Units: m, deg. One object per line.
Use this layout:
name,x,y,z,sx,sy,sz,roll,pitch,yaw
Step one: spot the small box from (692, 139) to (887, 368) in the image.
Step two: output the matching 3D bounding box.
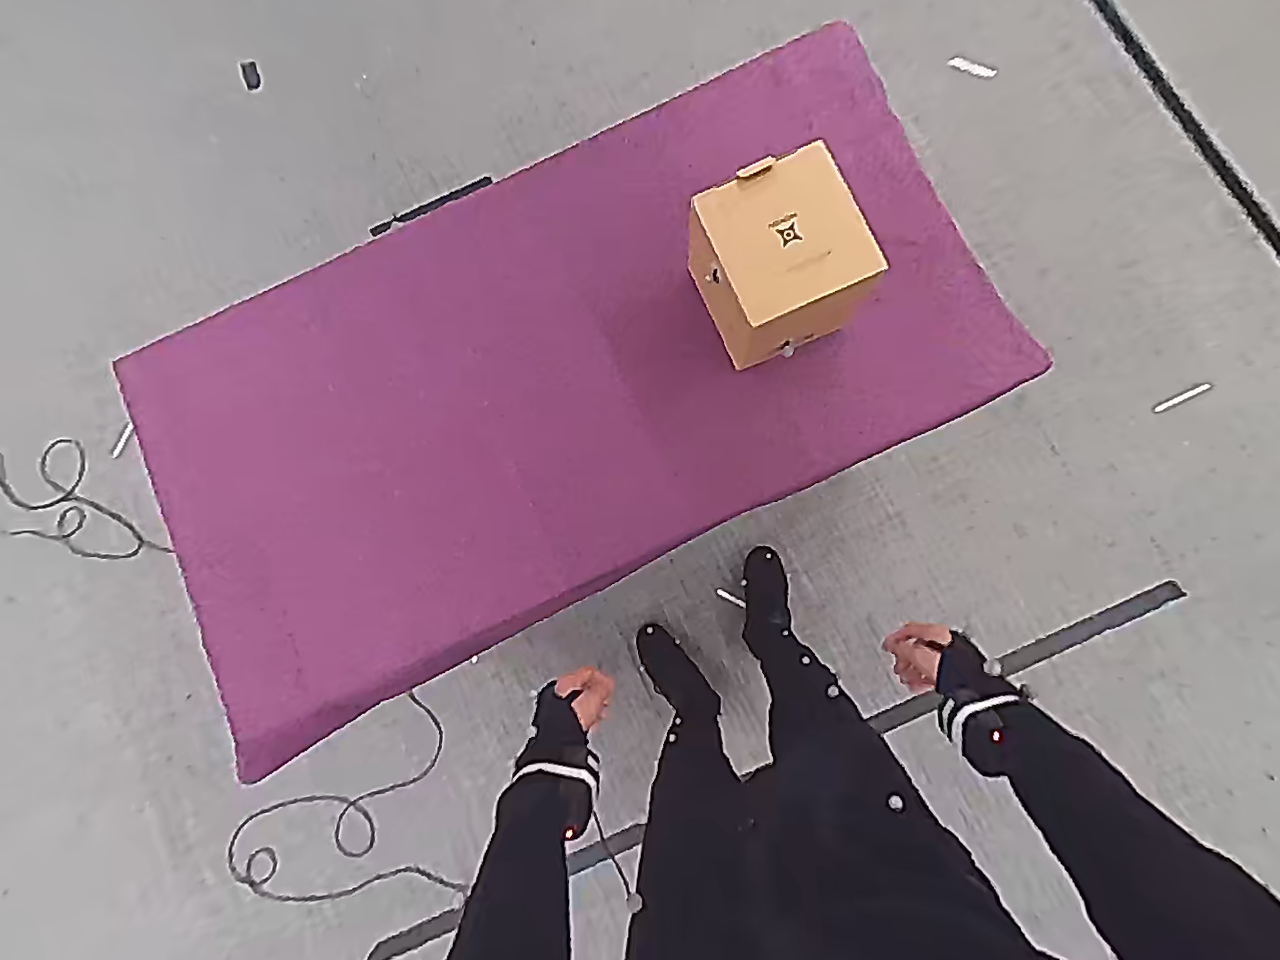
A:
small box,0.169,-0.269,0.680,0.168,0.176,0.179,-23,83,2
